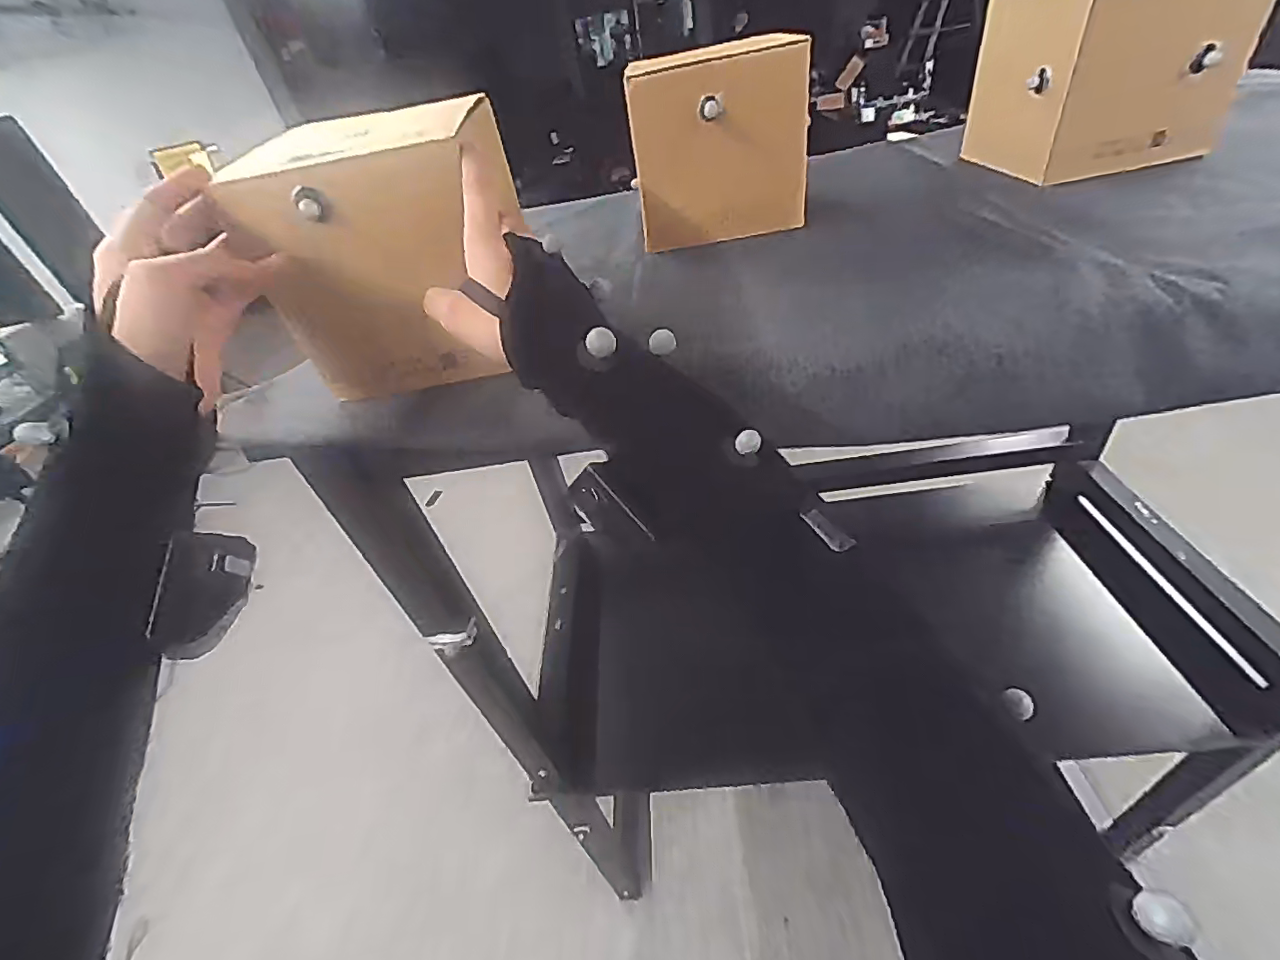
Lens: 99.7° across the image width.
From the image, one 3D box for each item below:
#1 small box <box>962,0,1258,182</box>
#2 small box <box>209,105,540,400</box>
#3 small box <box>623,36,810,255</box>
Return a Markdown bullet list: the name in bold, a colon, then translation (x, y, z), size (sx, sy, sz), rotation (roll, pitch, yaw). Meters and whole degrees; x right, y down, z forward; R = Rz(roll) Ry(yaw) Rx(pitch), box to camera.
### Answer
- **small box**: translation (0.478, -0.431, 0.572), size (0.168, 0.176, 0.179), rotation (-9, 40, 4)
- **small box**: translation (-0.187, -0.190, 0.451), size (0.168, 0.176, 0.179), rotation (-10, 42, 3)
- **small box**: translation (0.083, -0.375, 0.611), size (0.179, 0.176, 0.168), rotation (-8, 40, 6)
